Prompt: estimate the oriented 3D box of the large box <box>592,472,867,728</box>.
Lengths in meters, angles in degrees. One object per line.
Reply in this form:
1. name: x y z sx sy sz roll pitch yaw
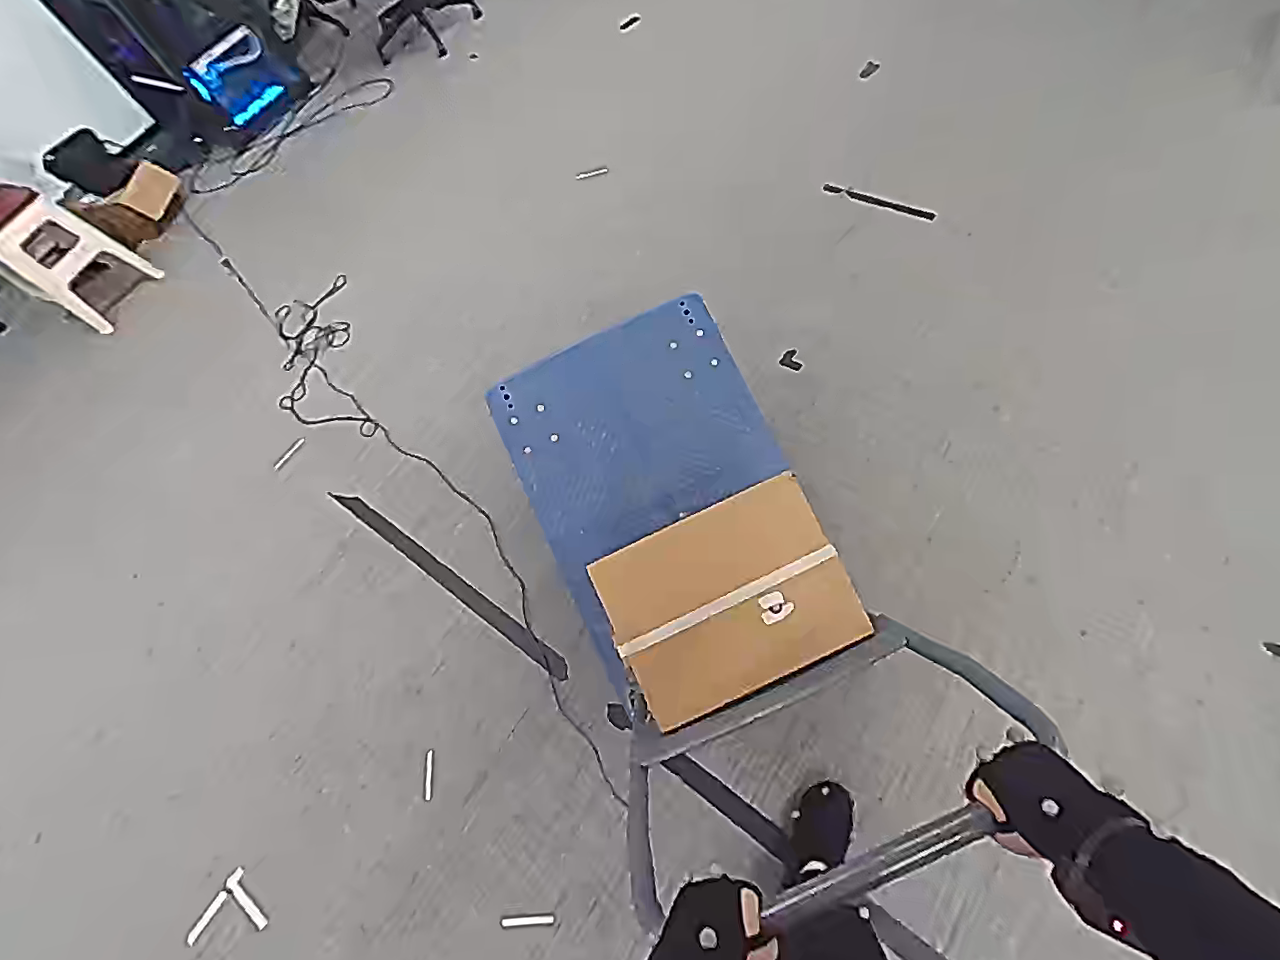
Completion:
1. large box: 0.158 0.226 1.100 0.408 0.320 0.320 -26 84 -2
